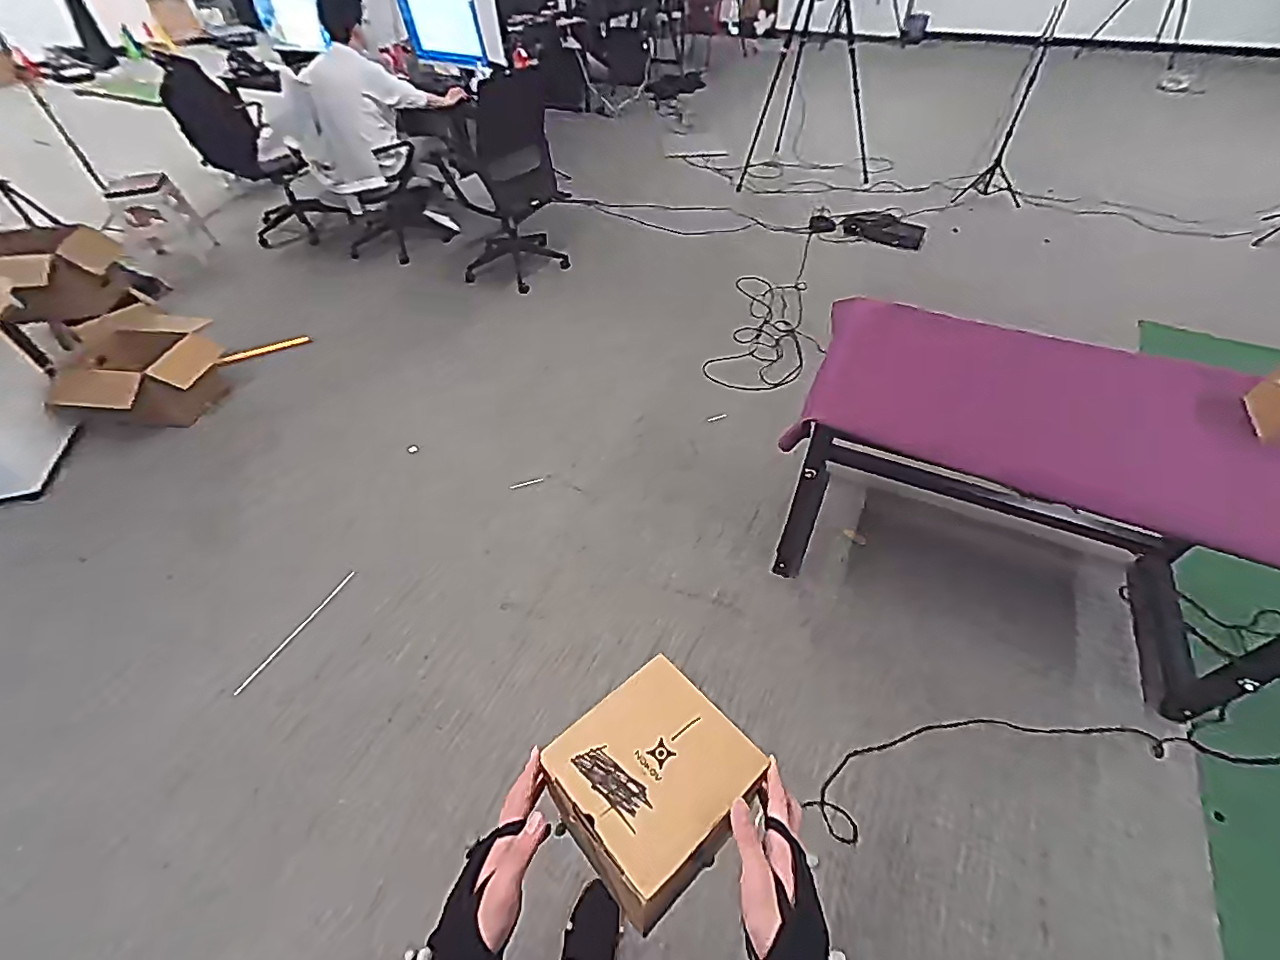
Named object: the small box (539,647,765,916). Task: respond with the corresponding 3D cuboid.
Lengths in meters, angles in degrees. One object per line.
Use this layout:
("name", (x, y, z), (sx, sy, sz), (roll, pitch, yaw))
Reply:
("small box", (0.012, 0.333, 0.603), (0.179, 0.176, 0.168), (-30, 51, -30))

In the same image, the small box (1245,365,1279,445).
("small box", (1.515, -0.175, 1.196), (0.168, 0.176, 0.179), (18, 51, 19))
